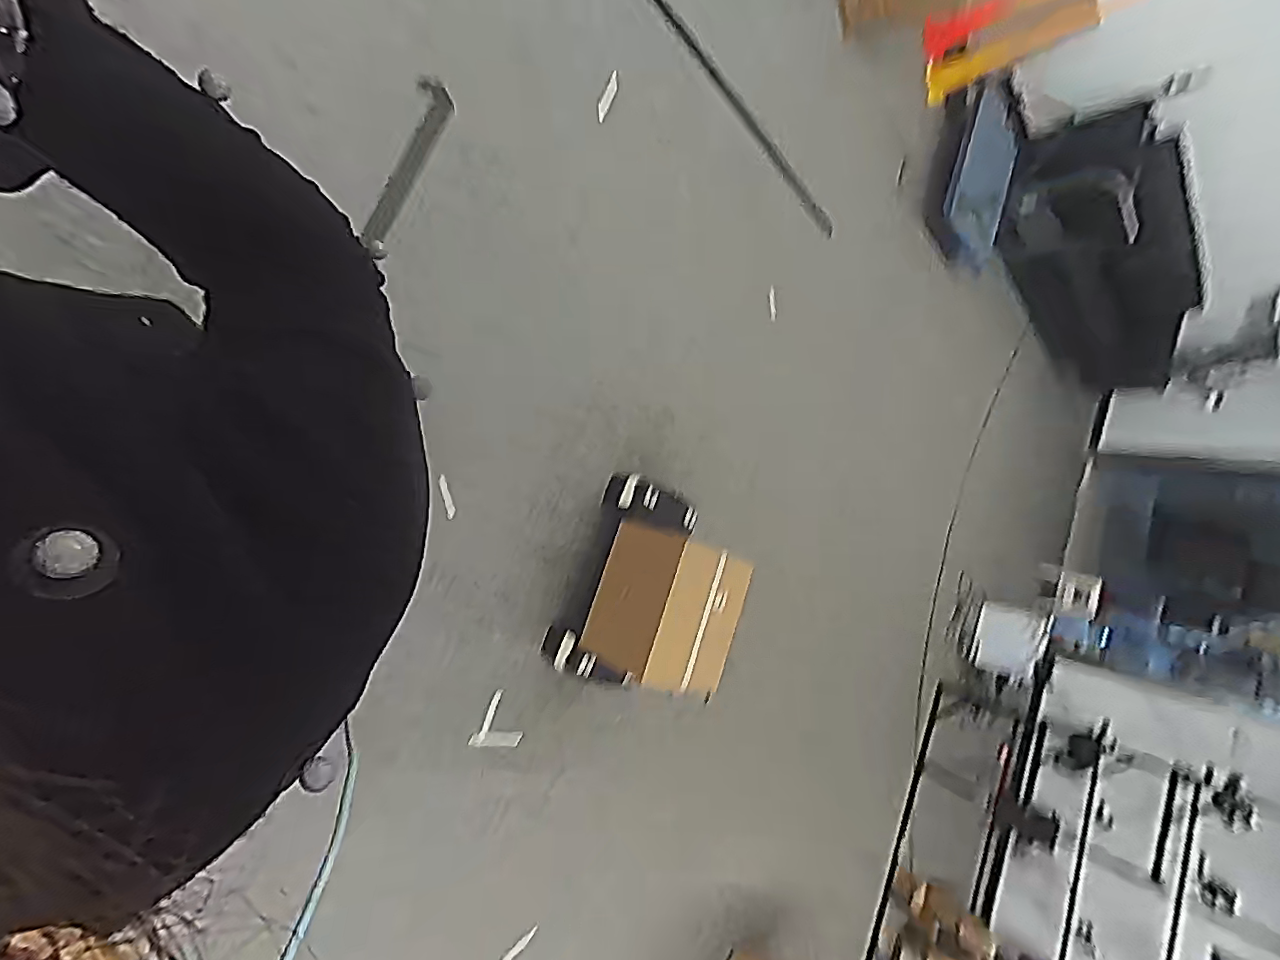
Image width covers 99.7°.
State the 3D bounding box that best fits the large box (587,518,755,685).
[{"bbox_3d":[0.090,0.361,1.632,0.320,0.320,0.408,24,80,-39],"label":"large box"}]
